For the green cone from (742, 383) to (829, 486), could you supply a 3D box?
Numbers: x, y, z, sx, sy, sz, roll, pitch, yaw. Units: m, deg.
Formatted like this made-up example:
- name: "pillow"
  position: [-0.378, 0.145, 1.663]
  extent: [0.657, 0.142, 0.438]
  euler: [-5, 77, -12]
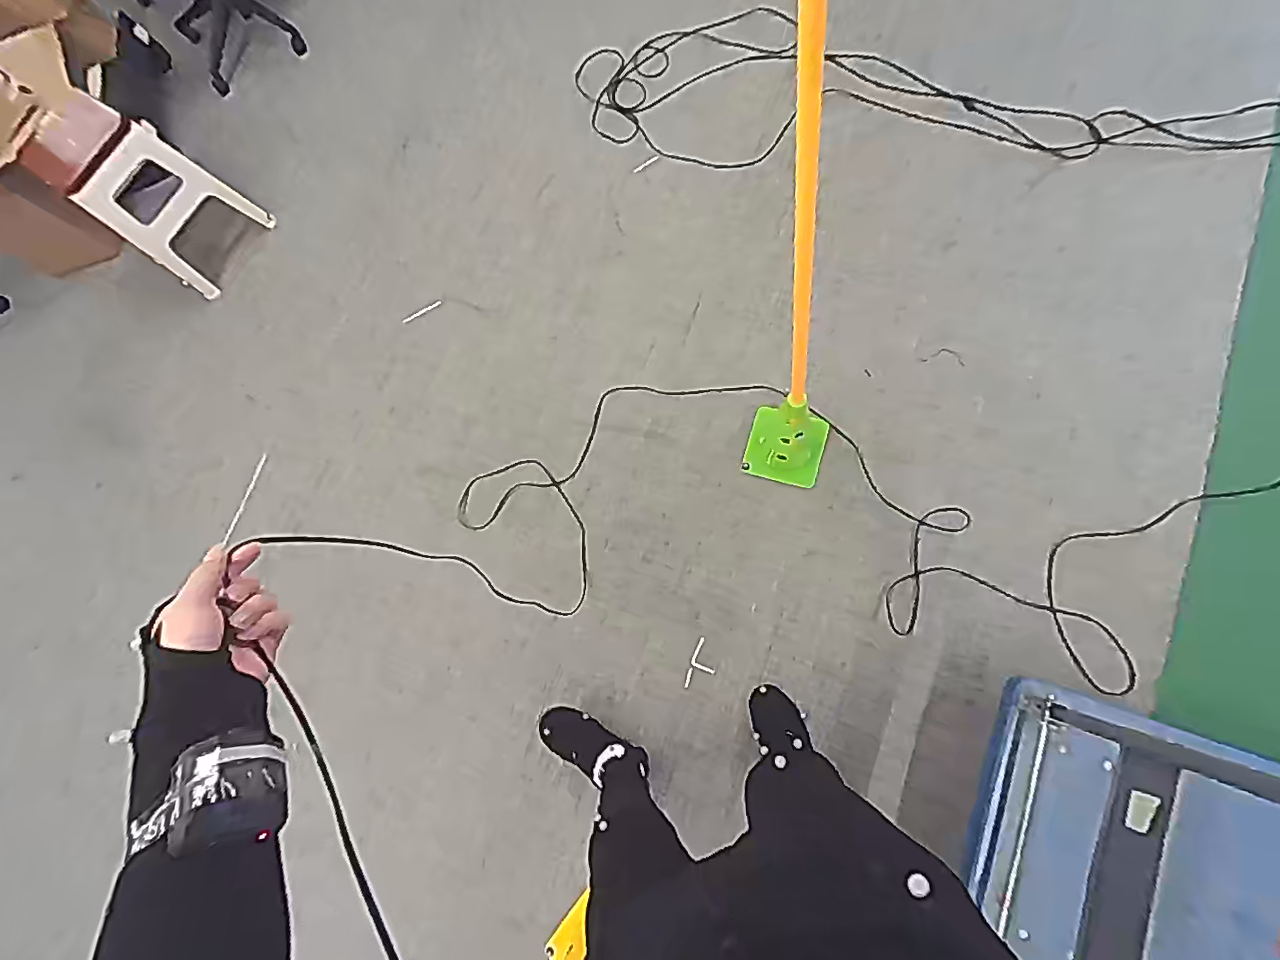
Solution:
- name: "green cone"
  position: [0.367, -0.137, 1.304]
  extent: [0.200, 0.368, 0.202]
  euler: [15, 79, 13]
